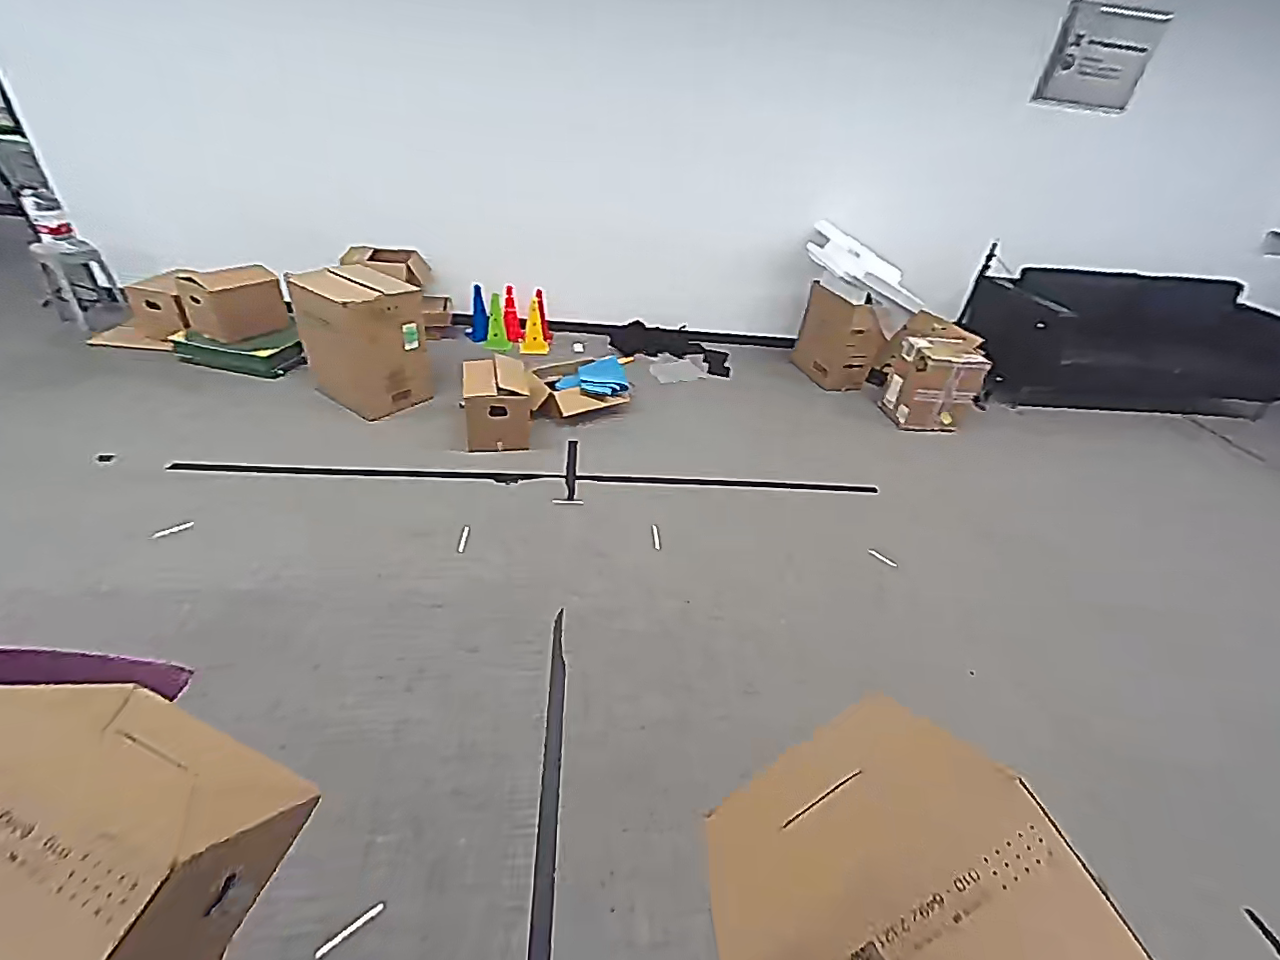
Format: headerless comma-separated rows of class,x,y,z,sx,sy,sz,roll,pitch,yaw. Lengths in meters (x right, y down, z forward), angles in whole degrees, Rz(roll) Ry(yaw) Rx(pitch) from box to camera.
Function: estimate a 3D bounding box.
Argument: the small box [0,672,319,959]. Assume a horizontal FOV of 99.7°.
small box,-0.319,0.214,0.285,0.168,0.179,0.176,27,67,1
